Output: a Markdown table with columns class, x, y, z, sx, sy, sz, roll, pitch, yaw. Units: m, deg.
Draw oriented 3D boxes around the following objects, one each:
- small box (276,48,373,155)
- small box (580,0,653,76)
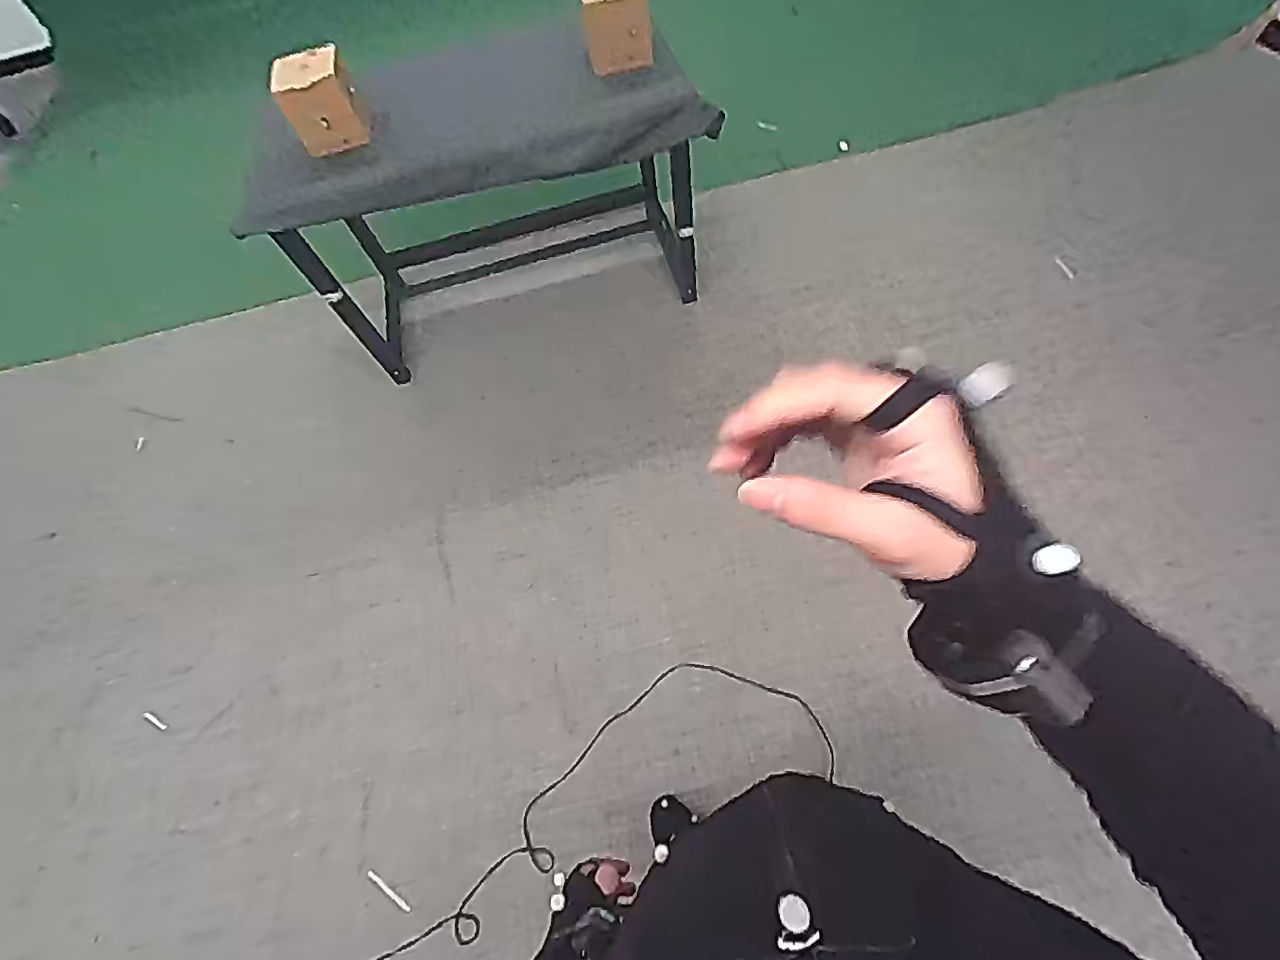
| class | x | y | z | sx | sy | sz | roll | pitch | yaw |
| --- | --- | --- | --- | --- | --- | --- | --- | --- | --- |
| small box | -0.839 | -1.005 | 1.453 | 0.168 | 0.176 | 0.179 | -16 | 62 | -2 |
| small box | -0.063 | -1.230 | 1.465 | 0.168 | 0.176 | 0.179 | -12 | 61 | 0 |
